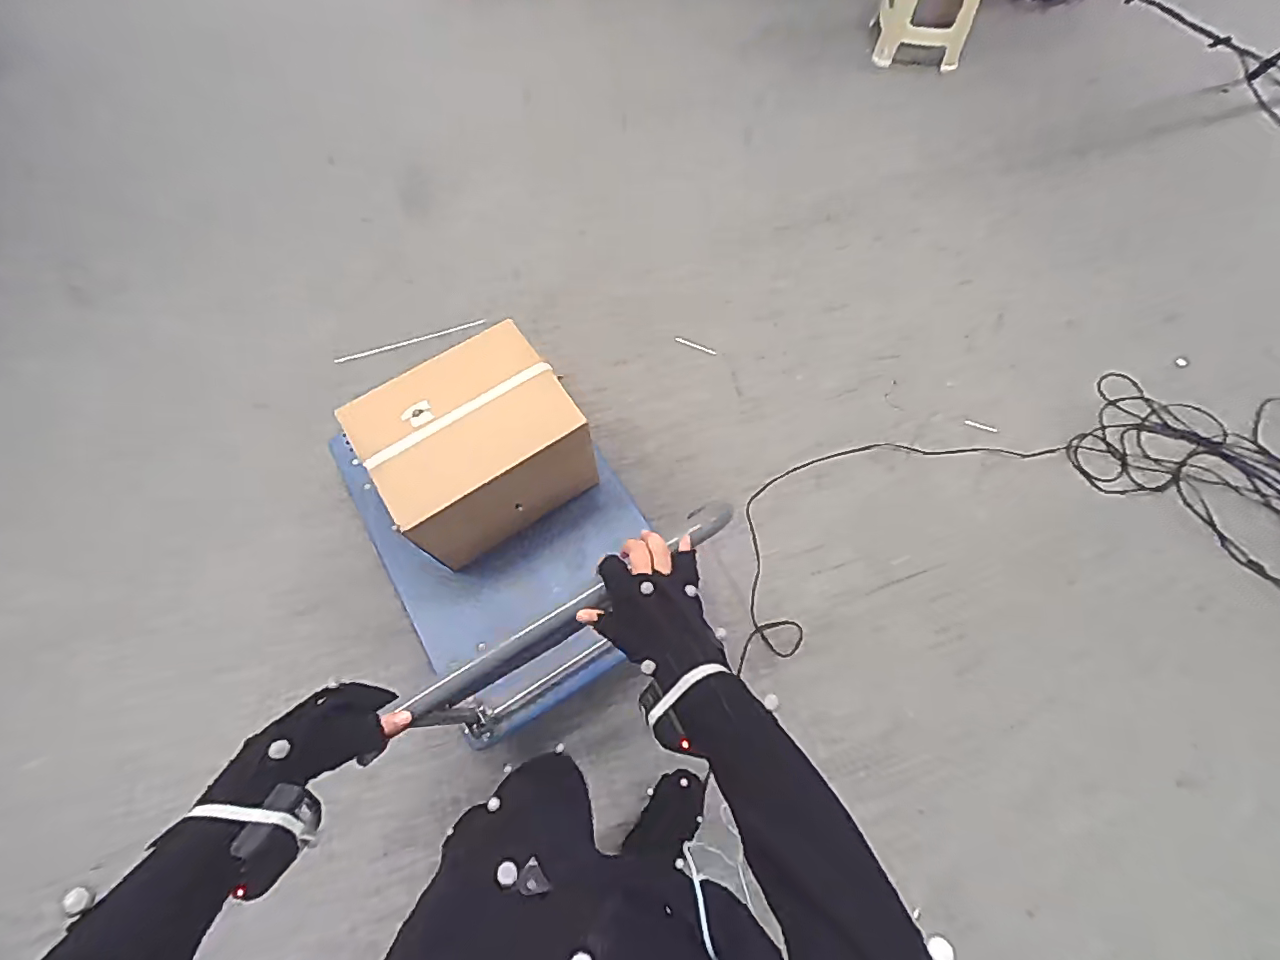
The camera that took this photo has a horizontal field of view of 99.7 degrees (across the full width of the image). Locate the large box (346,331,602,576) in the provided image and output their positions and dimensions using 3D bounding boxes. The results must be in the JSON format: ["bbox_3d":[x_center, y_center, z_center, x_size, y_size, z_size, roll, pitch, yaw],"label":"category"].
[{"bbox_3d":[-0.340,-0.048,1.213,0.408,0.320,0.320,-34,70,-13],"label":"large box"}]
